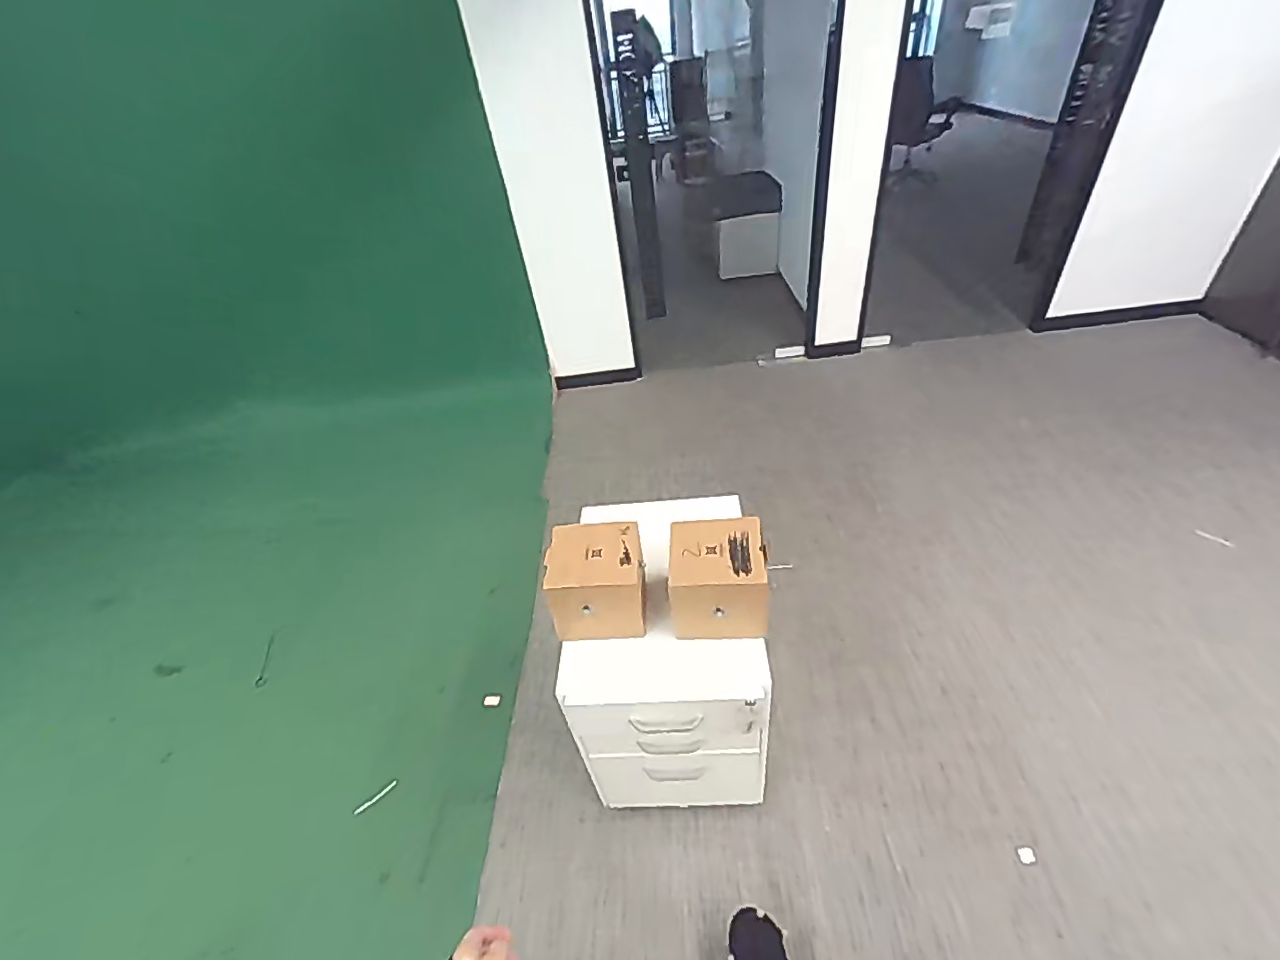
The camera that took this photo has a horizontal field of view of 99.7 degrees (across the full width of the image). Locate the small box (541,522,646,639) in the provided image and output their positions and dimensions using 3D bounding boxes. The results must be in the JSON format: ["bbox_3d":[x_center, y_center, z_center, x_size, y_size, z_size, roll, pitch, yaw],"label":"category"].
[{"bbox_3d":[-0.084,0.204,1.086,0.179,0.176,0.168,-4,40,4],"label":"small box"}]
